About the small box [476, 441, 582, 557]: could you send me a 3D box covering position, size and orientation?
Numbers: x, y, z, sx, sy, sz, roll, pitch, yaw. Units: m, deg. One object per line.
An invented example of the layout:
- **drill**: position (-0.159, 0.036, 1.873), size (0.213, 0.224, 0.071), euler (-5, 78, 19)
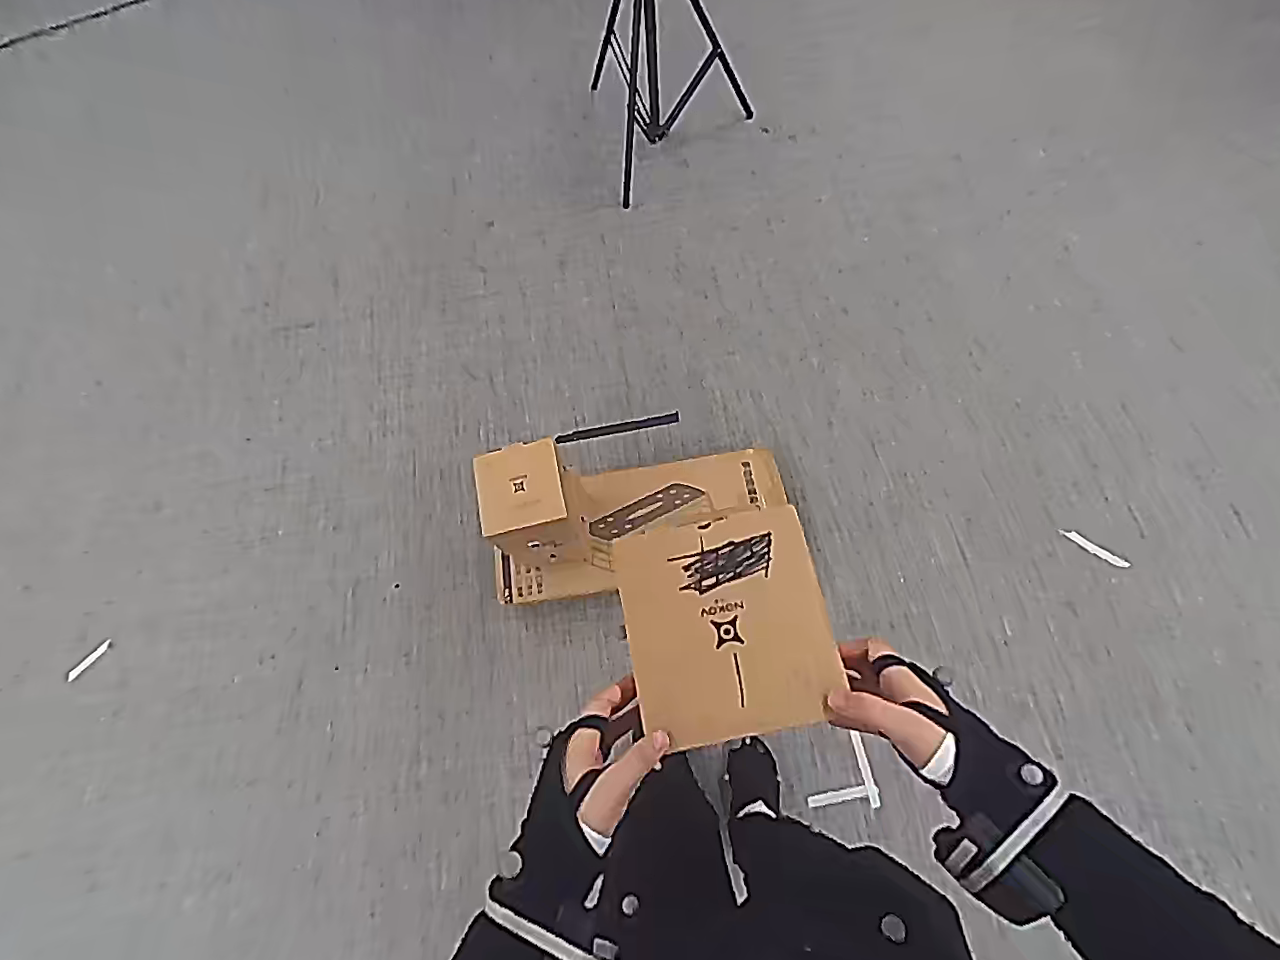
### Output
- **small box**: position (-0.225, 0.045, 1.120), size (0.168, 0.176, 0.179), euler (-14, 70, -1)

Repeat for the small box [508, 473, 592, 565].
- **small box**: position (-0.211, 0.100, 1.273), size (0.168, 0.176, 0.179), euler (-8, 70, 1)

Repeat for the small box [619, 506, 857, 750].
- **small box**: position (0.078, 0.144, 0.521), size (0.168, 0.176, 0.179), euler (-11, 69, 0)
